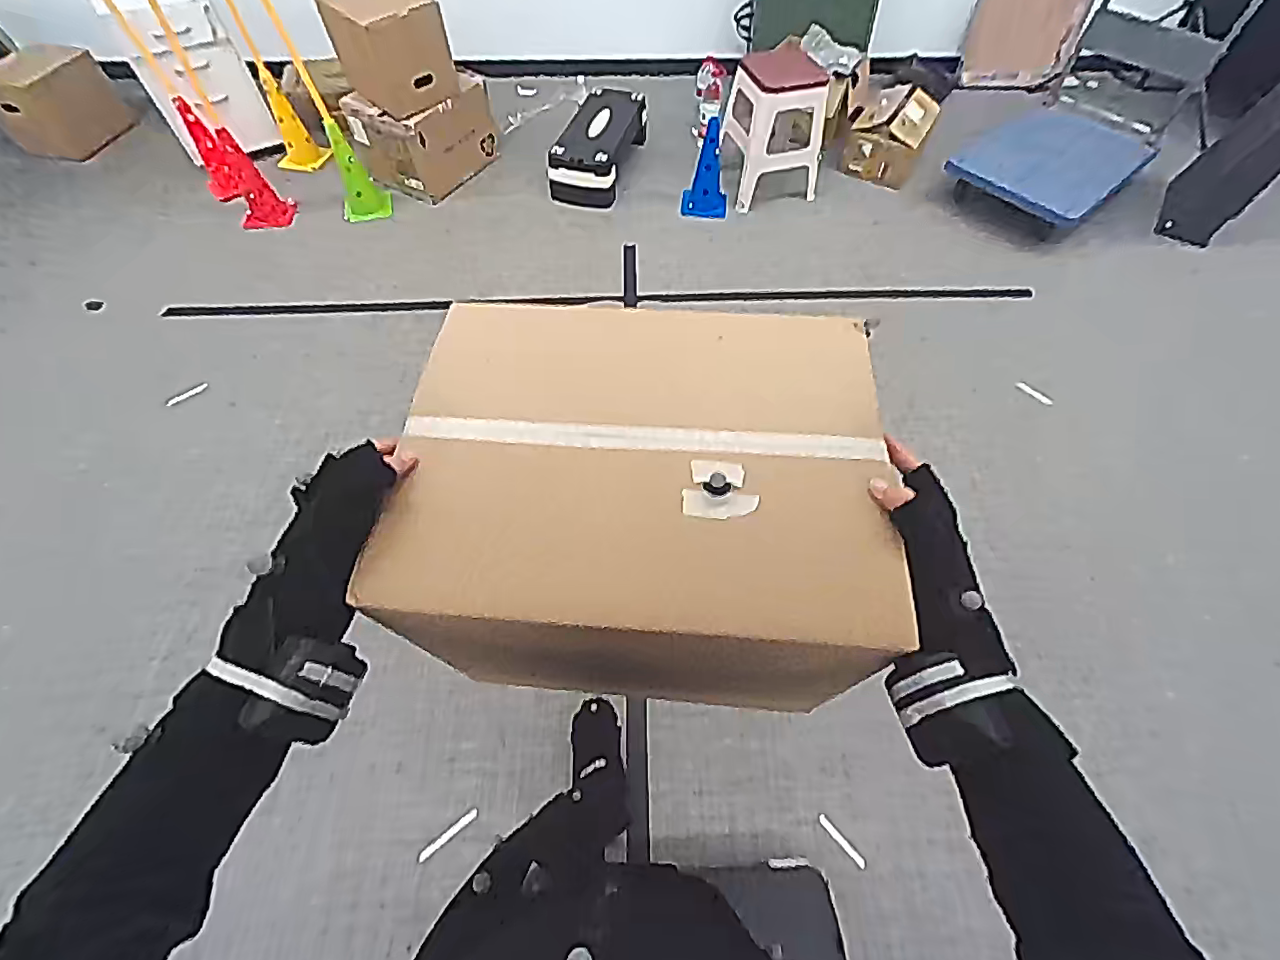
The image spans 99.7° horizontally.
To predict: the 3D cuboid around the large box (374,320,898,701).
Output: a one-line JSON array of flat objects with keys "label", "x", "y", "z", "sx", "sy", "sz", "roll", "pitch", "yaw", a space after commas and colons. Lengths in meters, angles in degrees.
[{"label": "large box", "x": 0.005, "y": 0.048, "z": 0.604, "sx": 0.408, "sy": 0.320, "sz": 0.320, "roll": 4, "pitch": 60, "yaw": 4}]
